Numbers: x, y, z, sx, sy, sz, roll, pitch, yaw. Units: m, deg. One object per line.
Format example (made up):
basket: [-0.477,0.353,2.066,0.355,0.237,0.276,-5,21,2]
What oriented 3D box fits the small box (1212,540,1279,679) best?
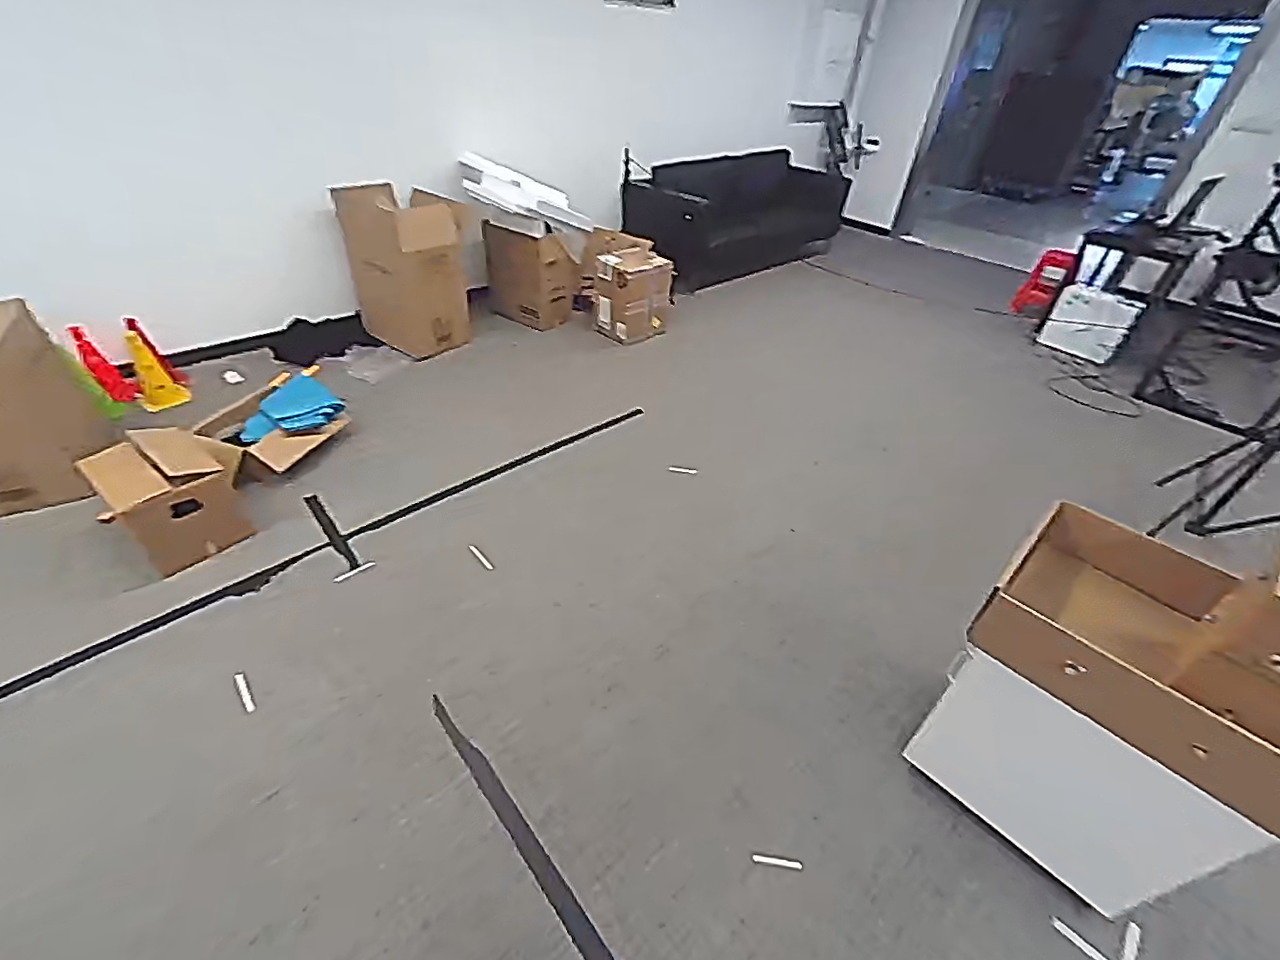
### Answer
small box: [1.134,0.231,0.916,0.179,0.176,0.168,-34,47,-30]

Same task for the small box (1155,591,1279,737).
small box: [1.147,0.353,1.024,0.168,0.176,0.179,-33,49,-31]
